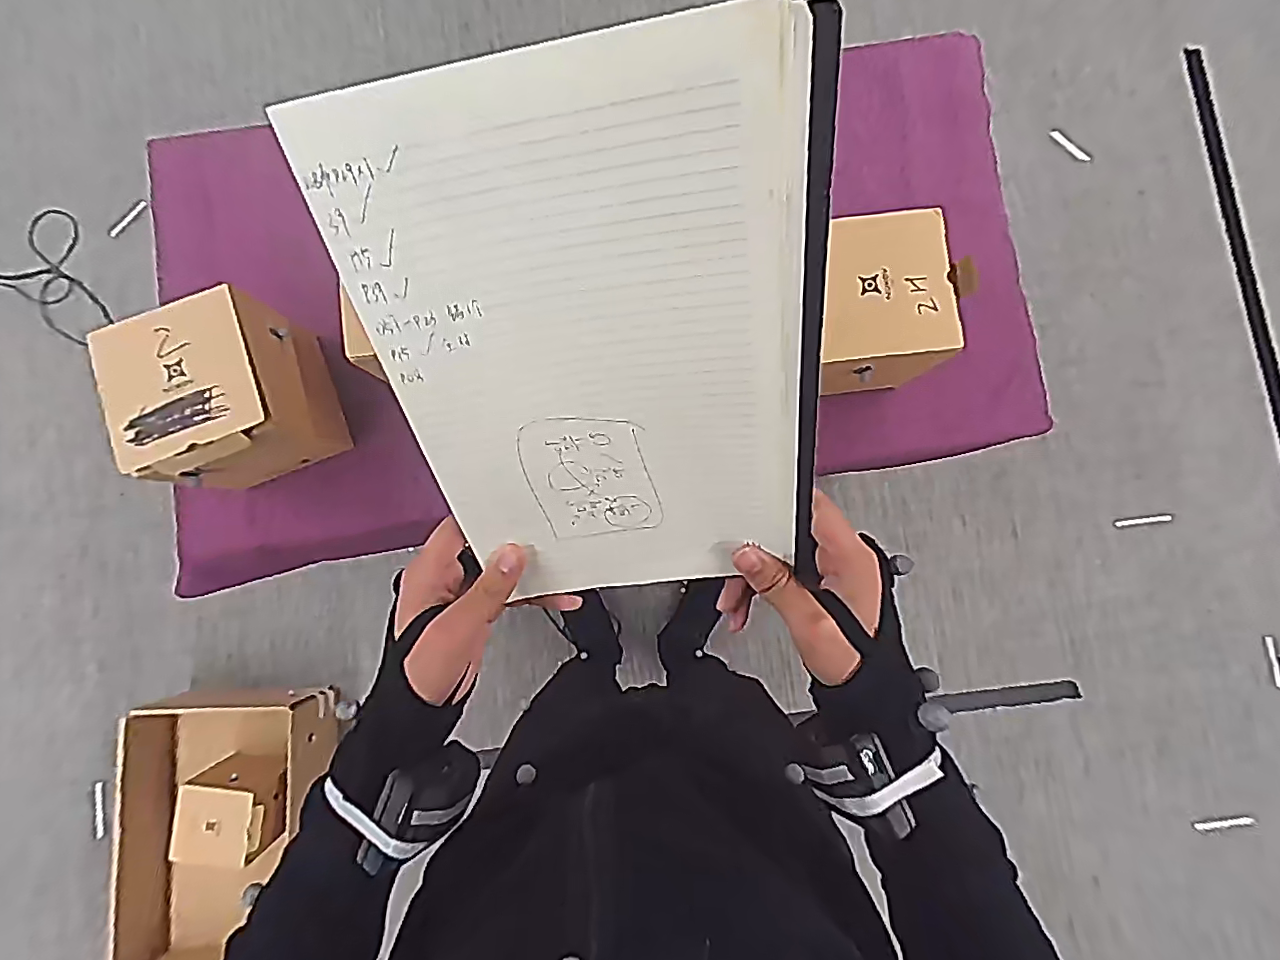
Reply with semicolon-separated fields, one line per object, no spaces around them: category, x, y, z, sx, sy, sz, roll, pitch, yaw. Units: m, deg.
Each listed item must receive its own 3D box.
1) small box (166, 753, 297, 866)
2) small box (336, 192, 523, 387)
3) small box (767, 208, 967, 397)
small box;-0.953;0.768;1.278;0.179;0.176;0.168;7;85;0
small box;-0.250;-0.222;0.677;0.168;0.176;0.179;-7;84;-1
small box;0.263;-0.207;0.674;0.179;0.176;0.168;-6;85;0
